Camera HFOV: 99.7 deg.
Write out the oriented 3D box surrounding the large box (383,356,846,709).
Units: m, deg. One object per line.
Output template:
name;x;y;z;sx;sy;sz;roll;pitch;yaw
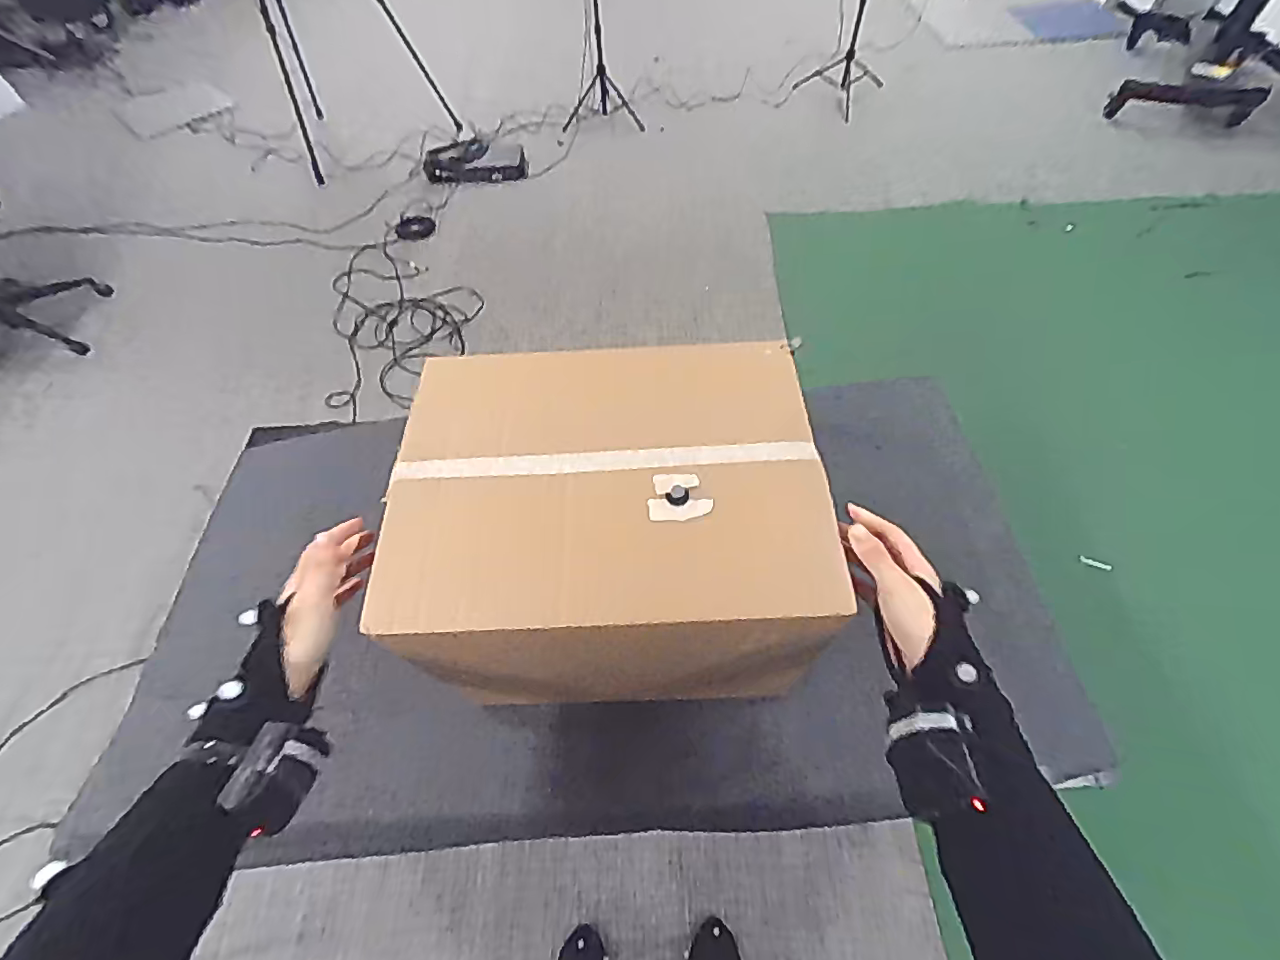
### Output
large box;-0.025;0.078;0.660;0.408;0.320;0.320;-3;57;0
